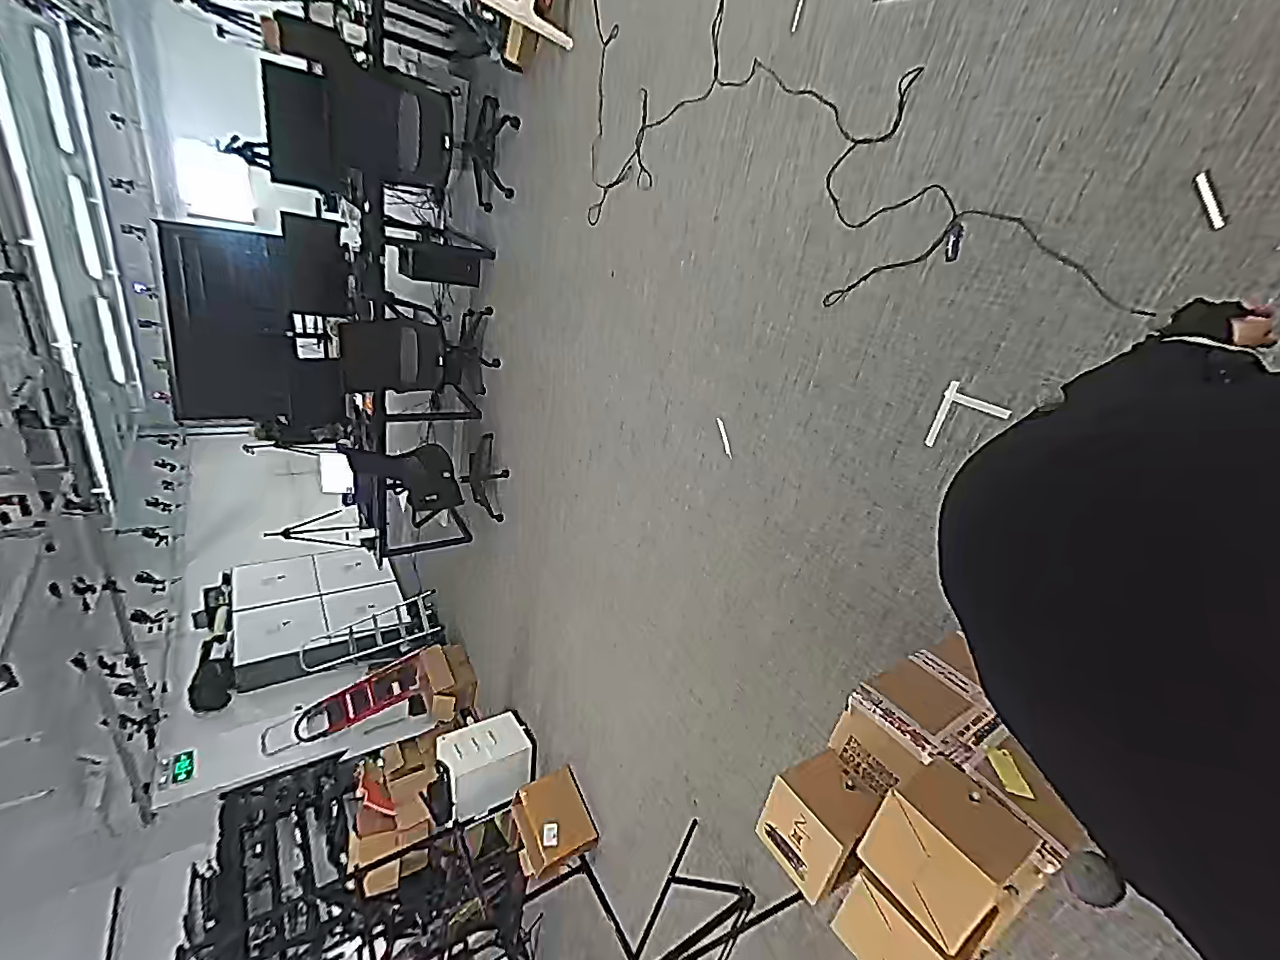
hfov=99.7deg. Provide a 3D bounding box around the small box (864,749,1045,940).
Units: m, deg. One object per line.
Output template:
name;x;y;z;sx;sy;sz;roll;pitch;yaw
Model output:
small box;0.513;0.598;0.898;0.179;0.176;0.168;38;123;46
